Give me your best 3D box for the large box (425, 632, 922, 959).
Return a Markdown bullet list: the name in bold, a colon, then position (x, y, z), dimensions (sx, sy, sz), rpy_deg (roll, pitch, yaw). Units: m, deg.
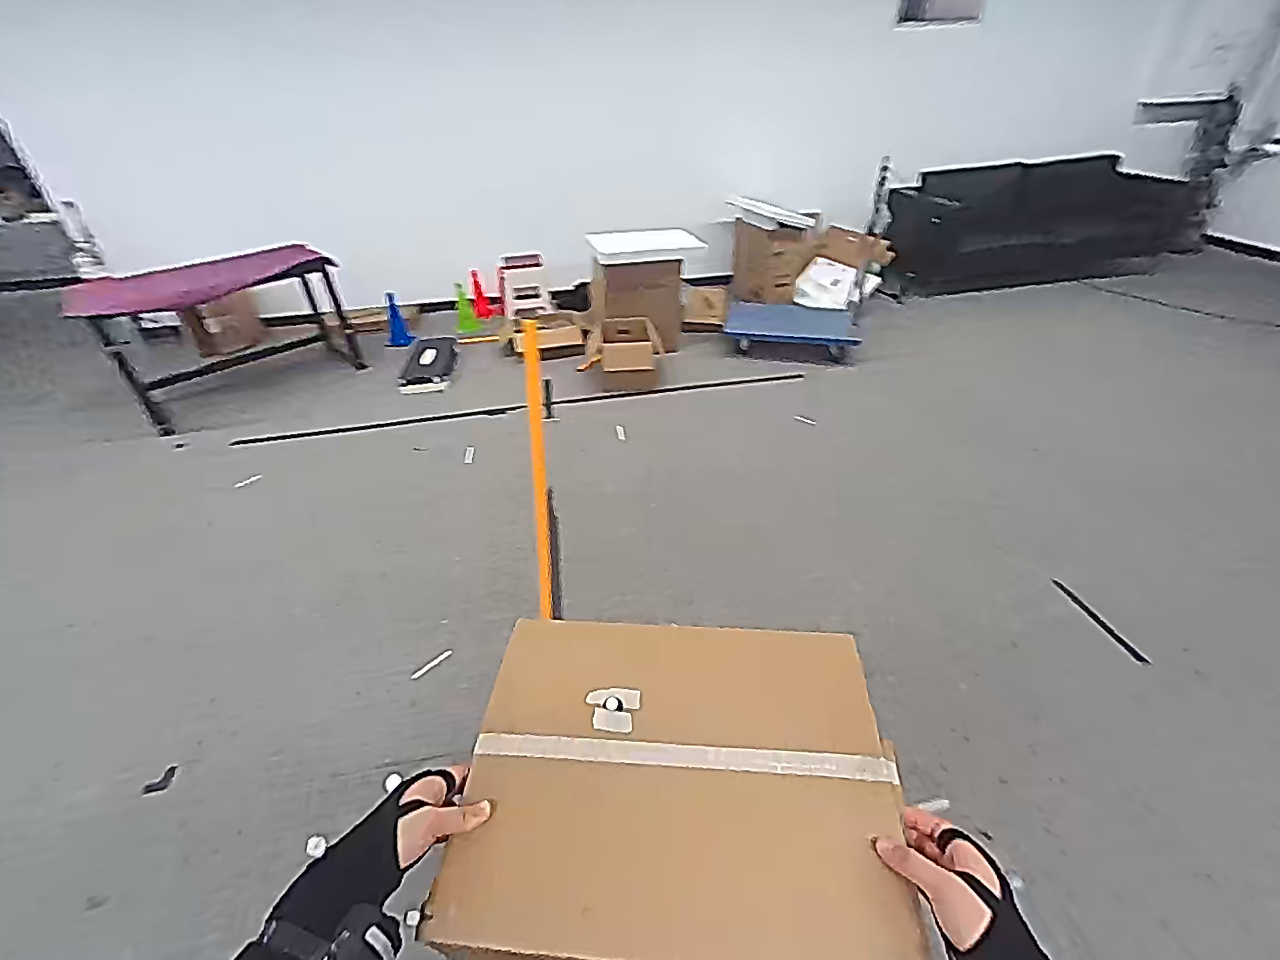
- **large box**: position (0.042, 0.398, 0.634), dimensions (0.408, 0.320, 0.320), rpy_deg (-1, 38, 7)
